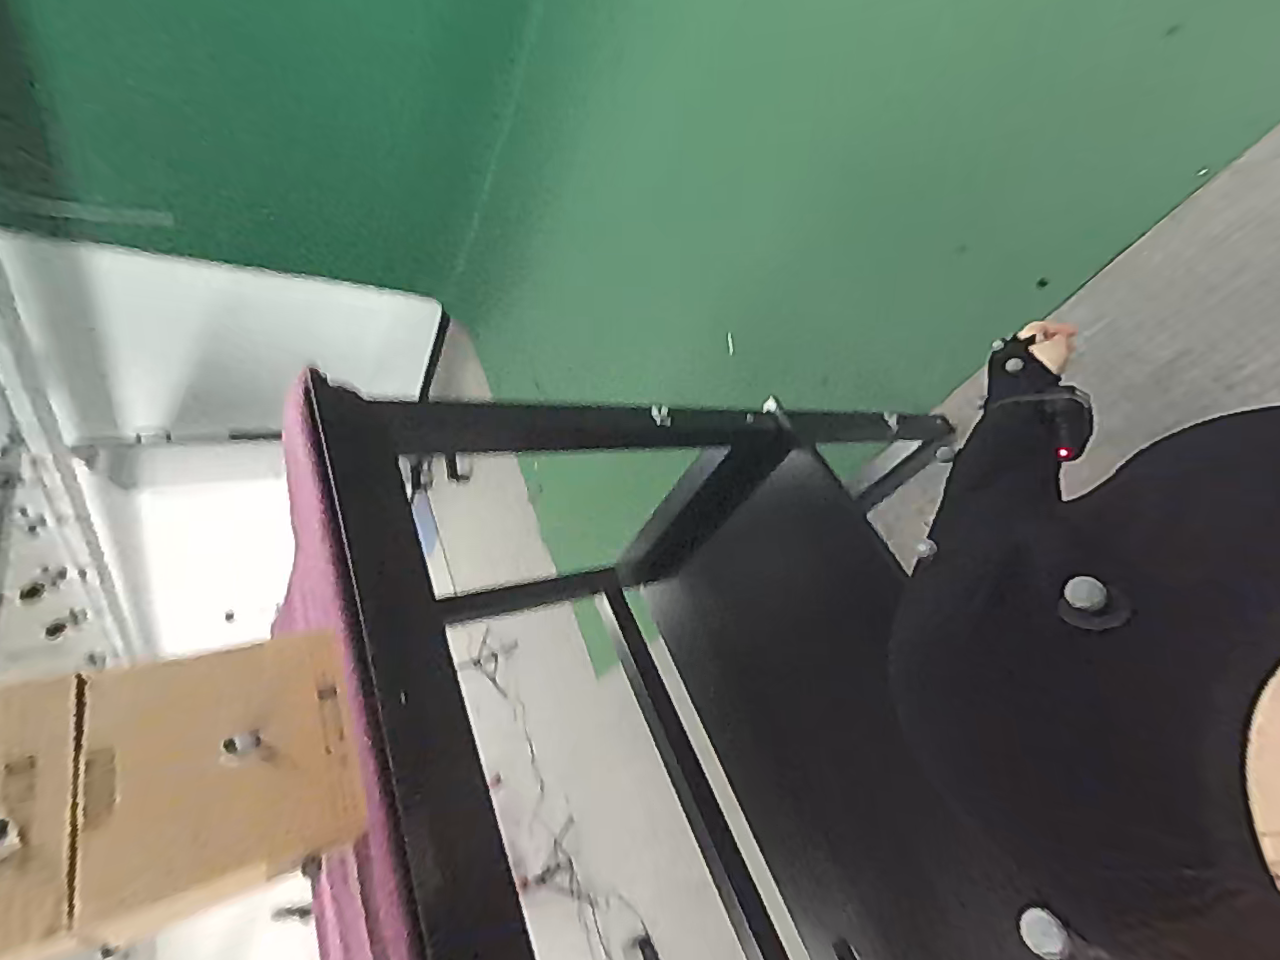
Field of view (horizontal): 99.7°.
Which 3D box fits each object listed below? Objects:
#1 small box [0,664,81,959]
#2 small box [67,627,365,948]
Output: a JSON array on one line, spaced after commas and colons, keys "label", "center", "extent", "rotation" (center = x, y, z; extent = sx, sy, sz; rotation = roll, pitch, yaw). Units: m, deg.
[{"label": "small box", "center": [-0.472, 0.244, 0.354], "extent": [0.179, 0.176, 0.168], "rotation": [-48, 58, 41]}, {"label": "small box", "center": [-0.342, 0.244, 0.453], "extent": [0.179, 0.176, 0.168], "rotation": [-51, 55, 39]}]
